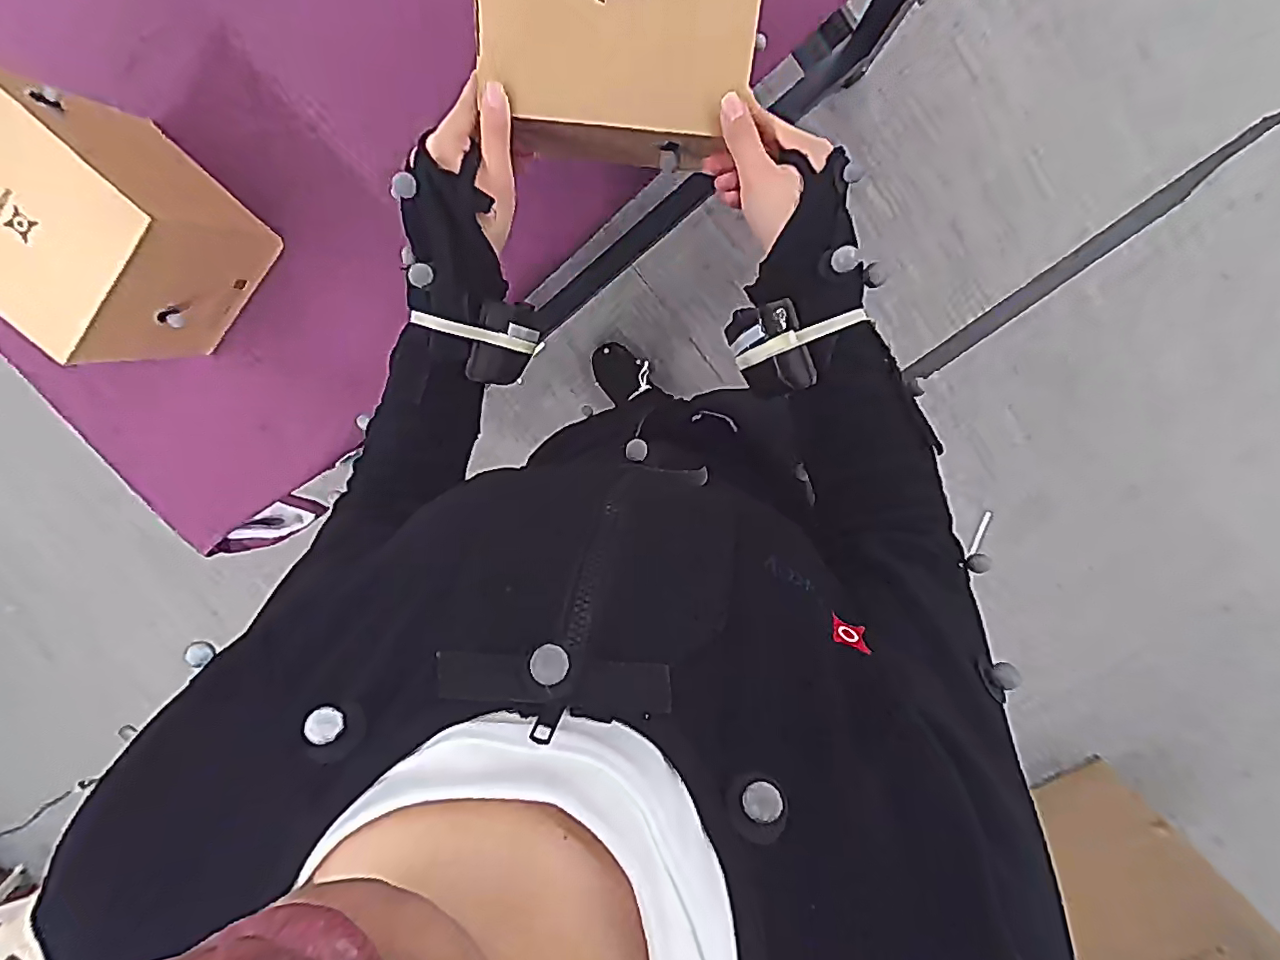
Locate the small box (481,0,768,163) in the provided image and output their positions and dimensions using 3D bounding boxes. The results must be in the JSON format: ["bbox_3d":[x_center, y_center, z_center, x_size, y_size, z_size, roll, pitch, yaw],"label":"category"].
[{"bbox_3d":[-0.005,-0.341,0.392,0.179,0.176,0.168,6,113,0],"label":"small box"}]

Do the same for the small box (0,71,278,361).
[{"bbox_3d":[-0.507,-0.240,0.521,0.179,0.176,0.168,43,104,-8],"label":"small box"}]
